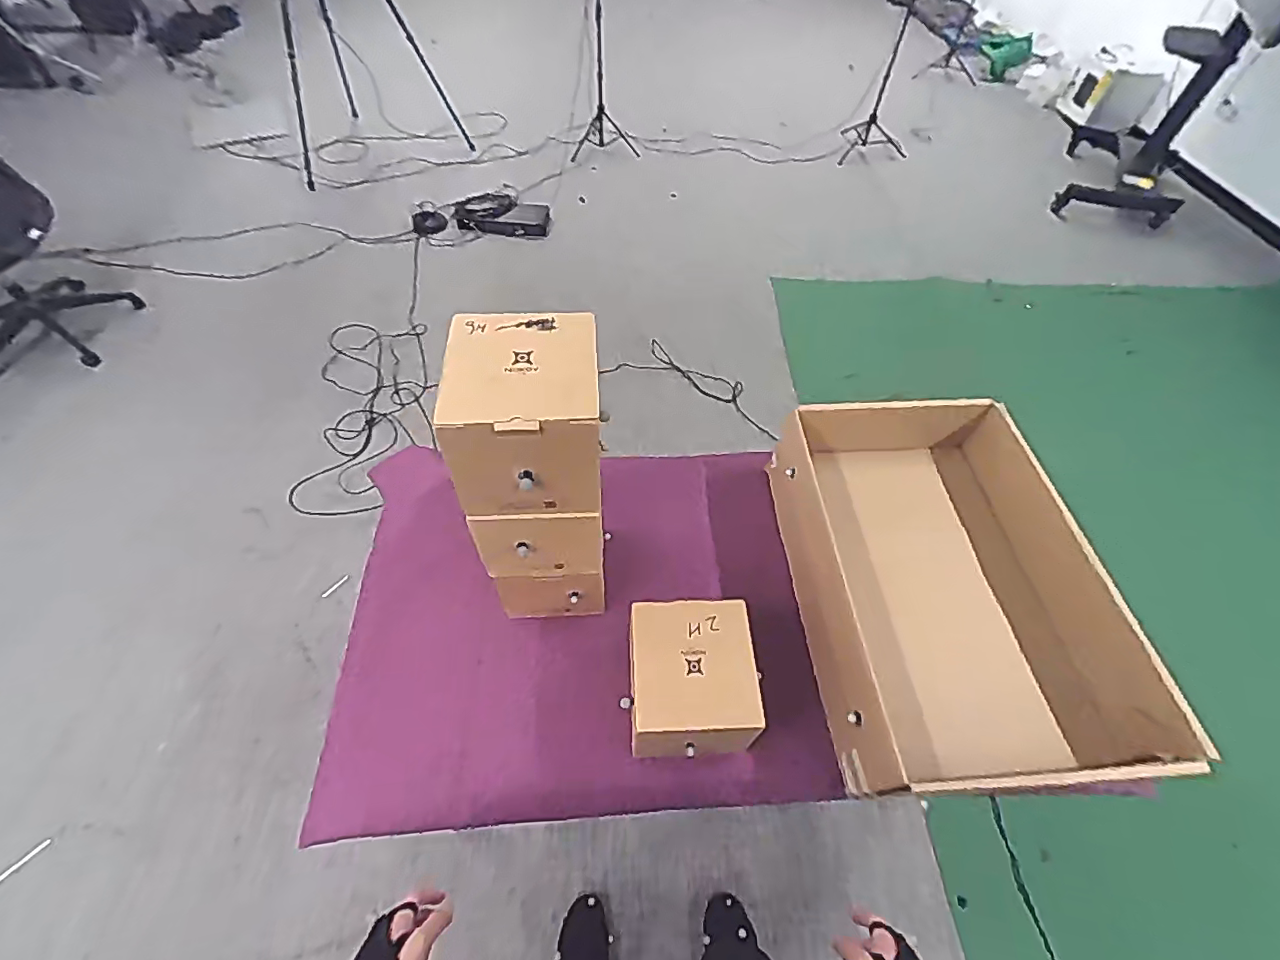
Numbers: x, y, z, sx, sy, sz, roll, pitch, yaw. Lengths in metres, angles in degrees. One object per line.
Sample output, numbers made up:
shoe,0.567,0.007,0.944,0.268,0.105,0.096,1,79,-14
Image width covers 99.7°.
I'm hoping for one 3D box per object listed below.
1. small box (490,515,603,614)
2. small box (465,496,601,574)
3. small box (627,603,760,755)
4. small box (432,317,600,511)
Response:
small box,-0.146,0.119,0.911,0.168,0.176,0.179,-1,54,-4
small box,-0.141,0.028,0.778,0.168,0.176,0.179,-1,54,-4
small box,0.067,0.294,0.789,0.168,0.176,0.179,0,53,-3
small box,-0.133,-0.073,0.648,0.168,0.176,0.179,-2,55,-5
